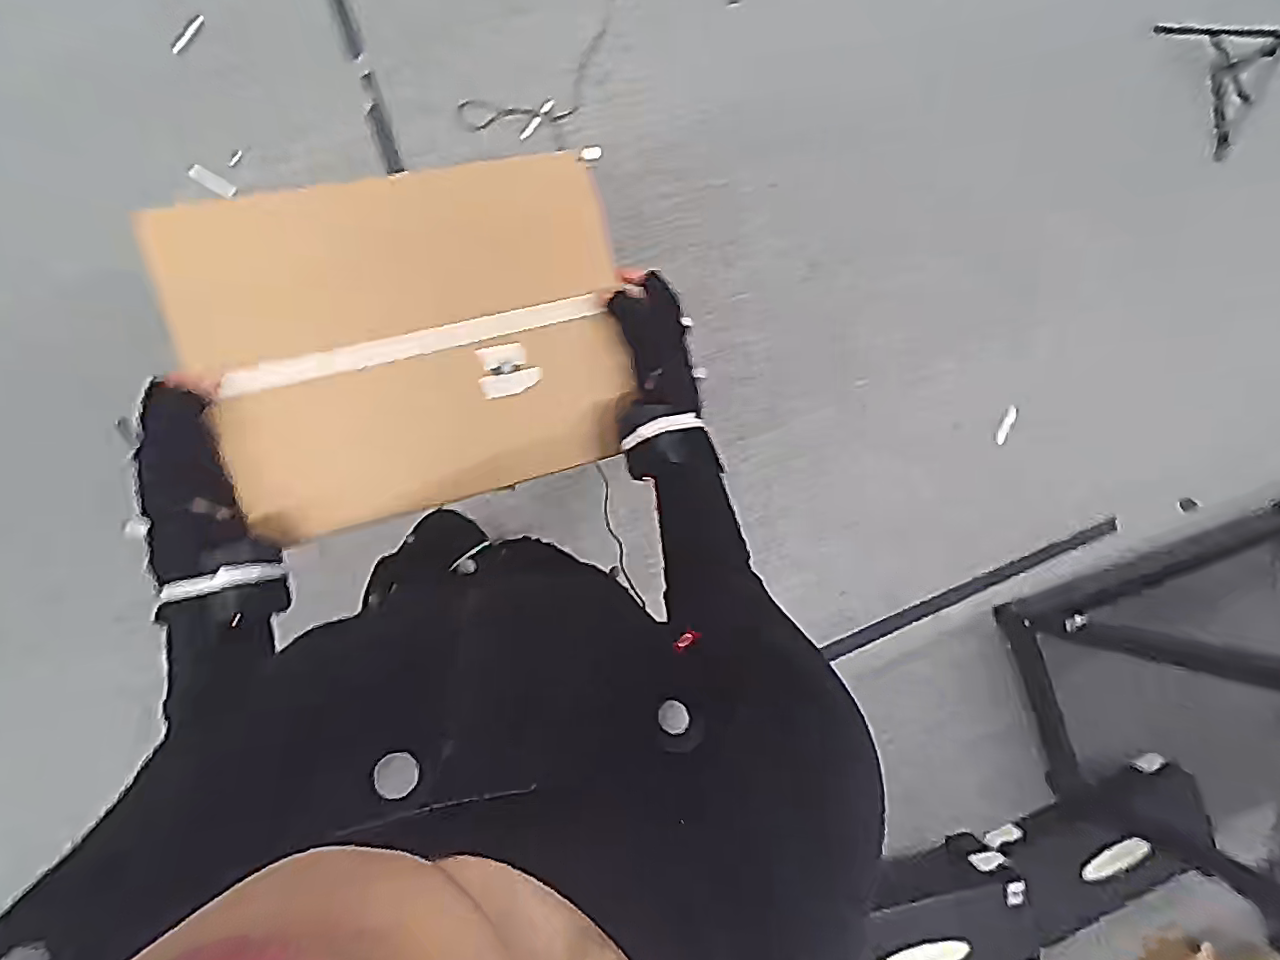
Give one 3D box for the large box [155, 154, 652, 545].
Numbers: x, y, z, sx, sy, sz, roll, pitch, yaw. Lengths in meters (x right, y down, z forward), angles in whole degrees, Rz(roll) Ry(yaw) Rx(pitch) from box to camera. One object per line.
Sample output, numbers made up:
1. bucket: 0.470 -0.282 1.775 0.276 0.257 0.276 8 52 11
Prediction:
1. large box: -0.248 -0.145 0.685 0.408 0.320 0.320 -18 97 -13
